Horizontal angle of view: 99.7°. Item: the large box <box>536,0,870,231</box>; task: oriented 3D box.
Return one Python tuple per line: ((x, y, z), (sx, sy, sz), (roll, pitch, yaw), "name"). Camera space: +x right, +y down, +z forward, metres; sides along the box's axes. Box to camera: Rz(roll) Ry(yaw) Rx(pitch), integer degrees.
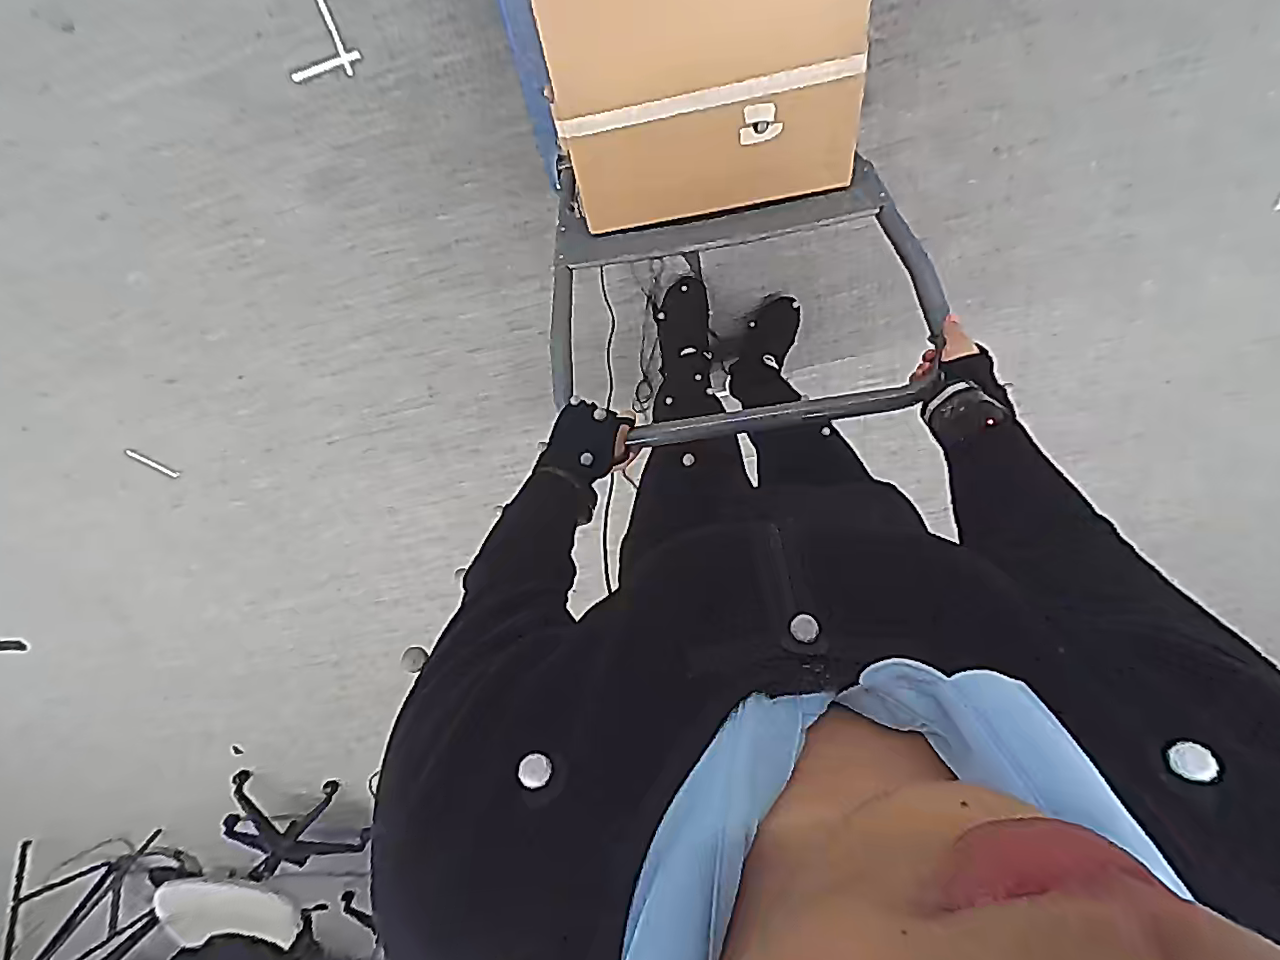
((0.087, -0.635, 0.817), (0.408, 0.320, 0.320), (-9, 141, 6), "large box")
